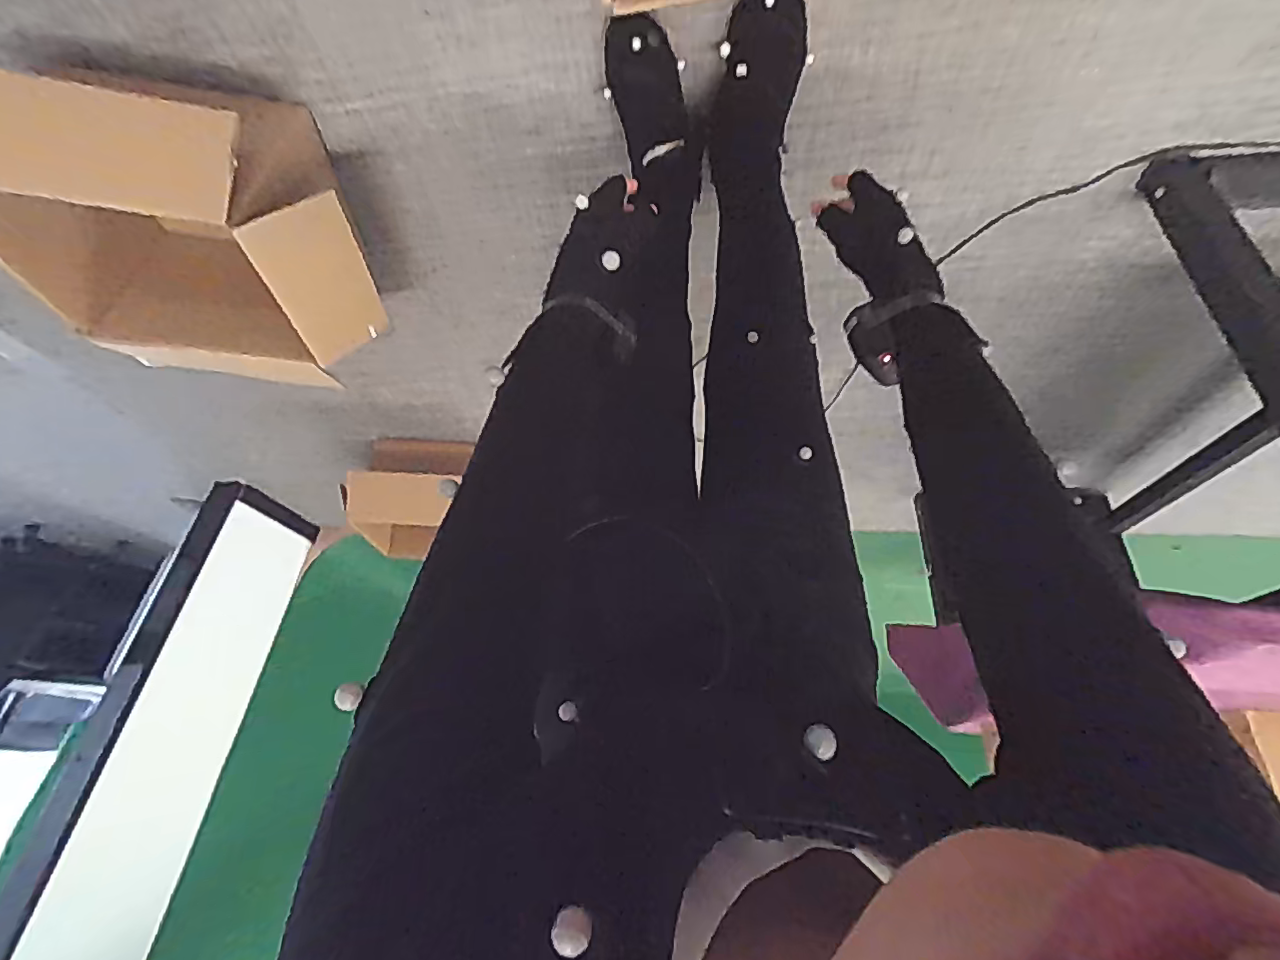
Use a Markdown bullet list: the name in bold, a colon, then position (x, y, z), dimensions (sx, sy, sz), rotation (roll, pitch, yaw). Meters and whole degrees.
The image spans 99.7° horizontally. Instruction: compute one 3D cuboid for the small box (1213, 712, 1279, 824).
- **small box**: position (1.167, 0.519, 0.972), dimensions (0.179, 0.176, 0.168), rotation (0, 150, 9)
